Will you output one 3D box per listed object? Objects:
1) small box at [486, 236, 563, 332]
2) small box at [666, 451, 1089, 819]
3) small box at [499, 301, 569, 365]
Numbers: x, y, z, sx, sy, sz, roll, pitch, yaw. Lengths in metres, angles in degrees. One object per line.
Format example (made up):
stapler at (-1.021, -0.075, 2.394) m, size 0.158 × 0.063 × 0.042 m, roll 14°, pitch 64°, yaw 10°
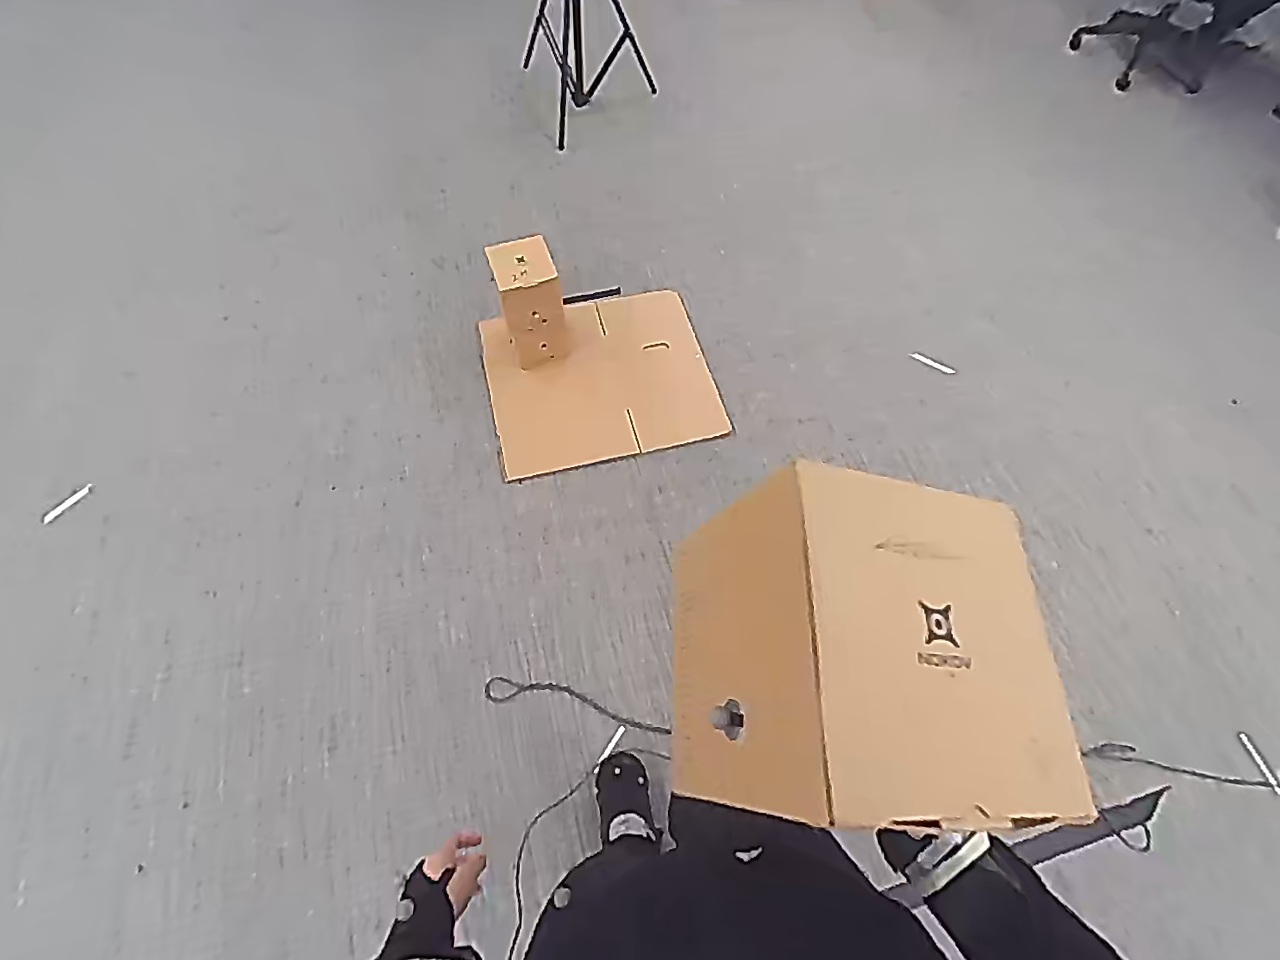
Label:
small box at (-0.326, -0.556, 1.546) m, size 0.168 × 0.176 × 0.179 m, roll -18°, pitch 66°, yaw -10°
small box at (0.124, 0.107, 0.352) m, size 0.168 × 0.176 × 0.179 m, roll 11°, pitch 62°, yaw -18°
small box at (-0.329, -0.483, 1.693) m, size 0.168 × 0.176 × 0.179 m, roll -19°, pitch 67°, yaw -12°
